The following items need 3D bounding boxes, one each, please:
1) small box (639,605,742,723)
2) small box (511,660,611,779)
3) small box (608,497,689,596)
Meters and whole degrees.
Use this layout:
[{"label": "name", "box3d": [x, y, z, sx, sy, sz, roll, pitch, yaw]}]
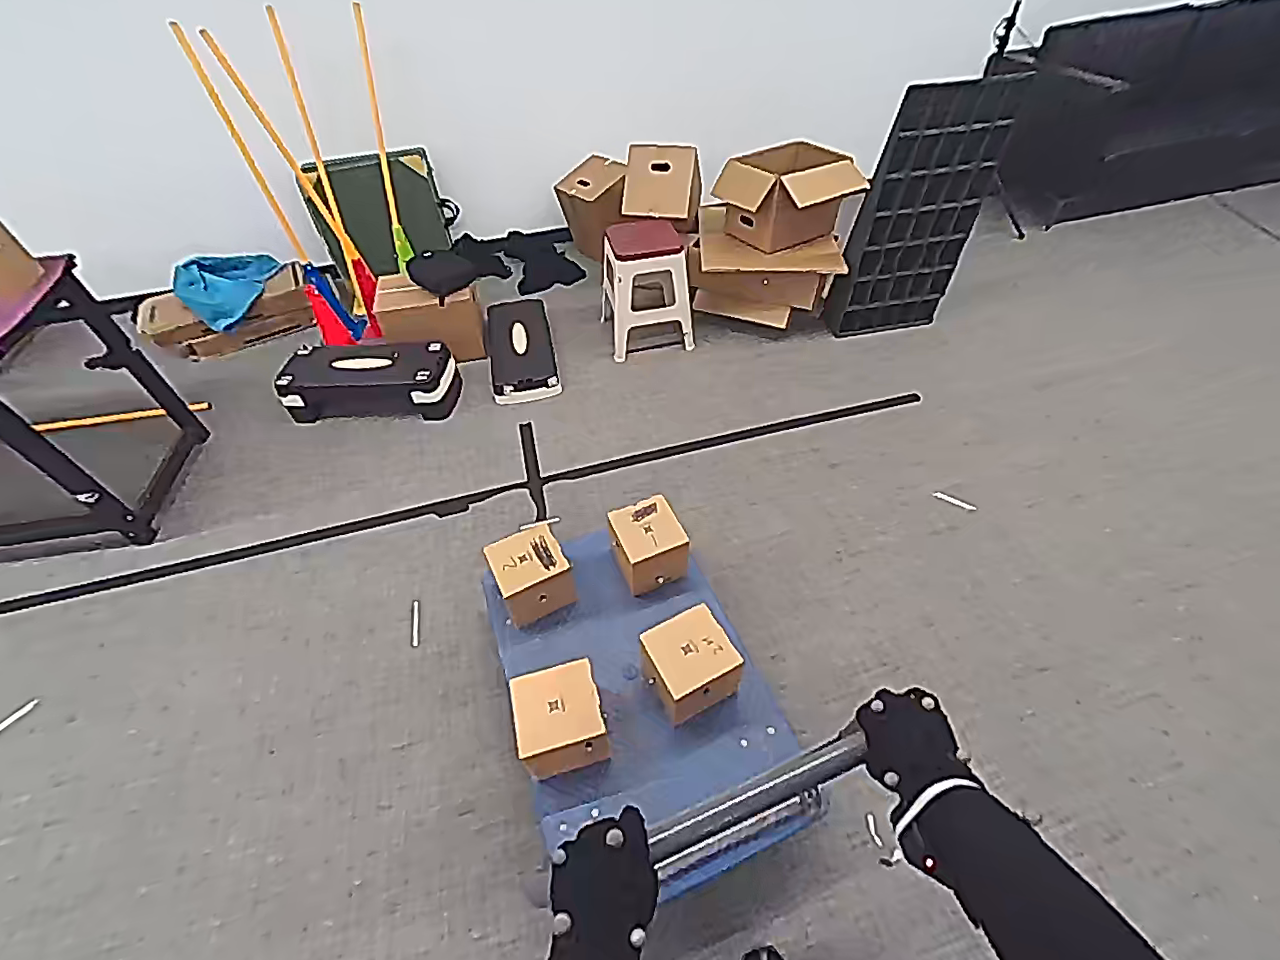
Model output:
[{"label": "small box", "box3d": [0.114, 0.428, 1.248, 0.179, 0.176, 0.168, -23, 51, -16]}, {"label": "small box", "box3d": [-0.169, 0.525, 1.178, 0.179, 0.176, 0.168, -13, 49, -11]}, {"label": "small box", "box3d": [0.021, 0.183, 1.472, 0.168, 0.176, 0.179, -20, 51, -14]}]
